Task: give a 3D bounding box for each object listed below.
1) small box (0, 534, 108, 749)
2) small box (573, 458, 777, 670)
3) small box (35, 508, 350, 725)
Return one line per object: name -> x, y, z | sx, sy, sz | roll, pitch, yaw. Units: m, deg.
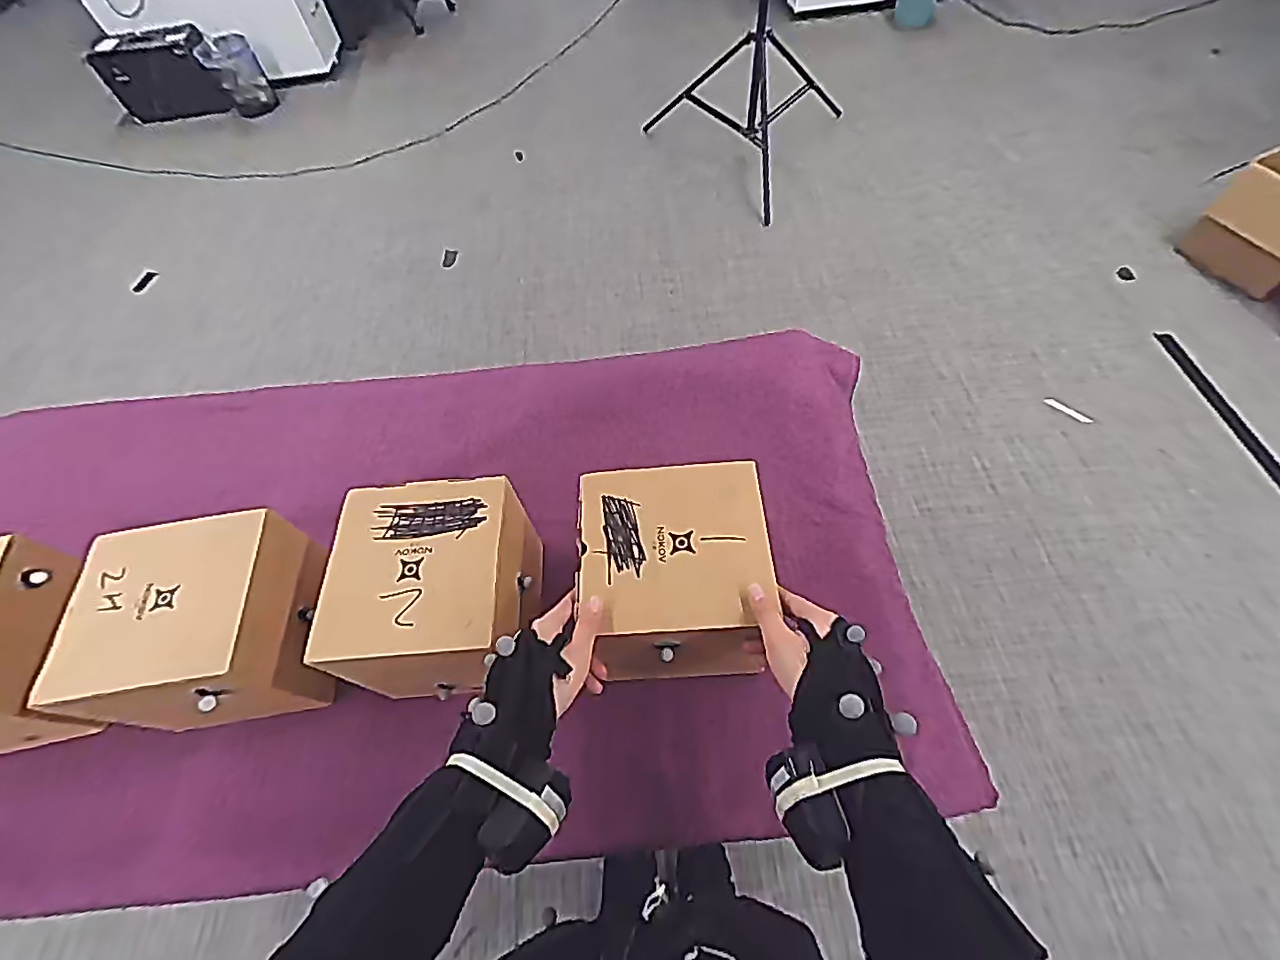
small box -> -0.695, 0.184, 0.579 | 0.168, 0.176, 0.179 | -12, 58, -3
small box -> 0.034, 0.094, 0.562 | 0.179, 0.176, 0.168 | -3, 58, 3
small box -> -0.440, 0.151, 0.574 | 0.179, 0.176, 0.168 | -10, 58, -1
